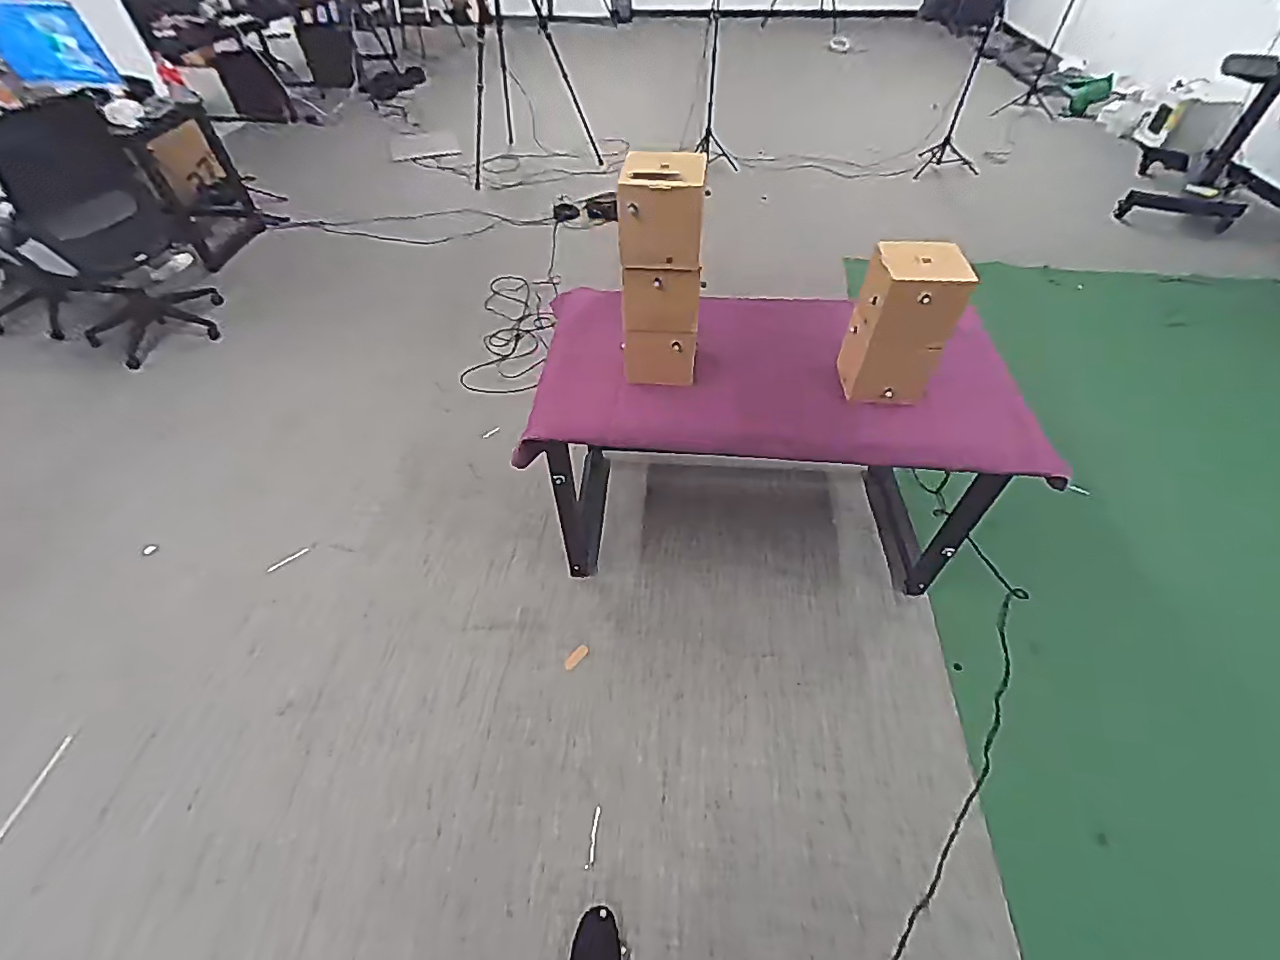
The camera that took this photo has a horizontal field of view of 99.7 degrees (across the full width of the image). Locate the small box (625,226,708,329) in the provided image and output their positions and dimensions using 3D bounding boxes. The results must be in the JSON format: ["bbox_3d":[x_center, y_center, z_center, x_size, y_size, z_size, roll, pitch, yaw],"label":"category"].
[{"bbox_3d":[0.063,-0.468,1.259,0.179,0.176,0.168,3,51,5],"label":"small box"}]

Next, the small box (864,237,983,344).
[{"bbox_3d":[0.612,-0.418,1.198,0.179,0.176,0.168,3,51,5],"label":"small box"}]

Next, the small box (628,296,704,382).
[{"bbox_3d":[0.067,-0.367,1.385,0.179,0.176,0.168,4,50,4],"label":"small box"}]

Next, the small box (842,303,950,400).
[{"bbox_3d":[0.615,-0.311,1.323,0.179,0.176,0.168,3,50,4],"label":"small box"}]
